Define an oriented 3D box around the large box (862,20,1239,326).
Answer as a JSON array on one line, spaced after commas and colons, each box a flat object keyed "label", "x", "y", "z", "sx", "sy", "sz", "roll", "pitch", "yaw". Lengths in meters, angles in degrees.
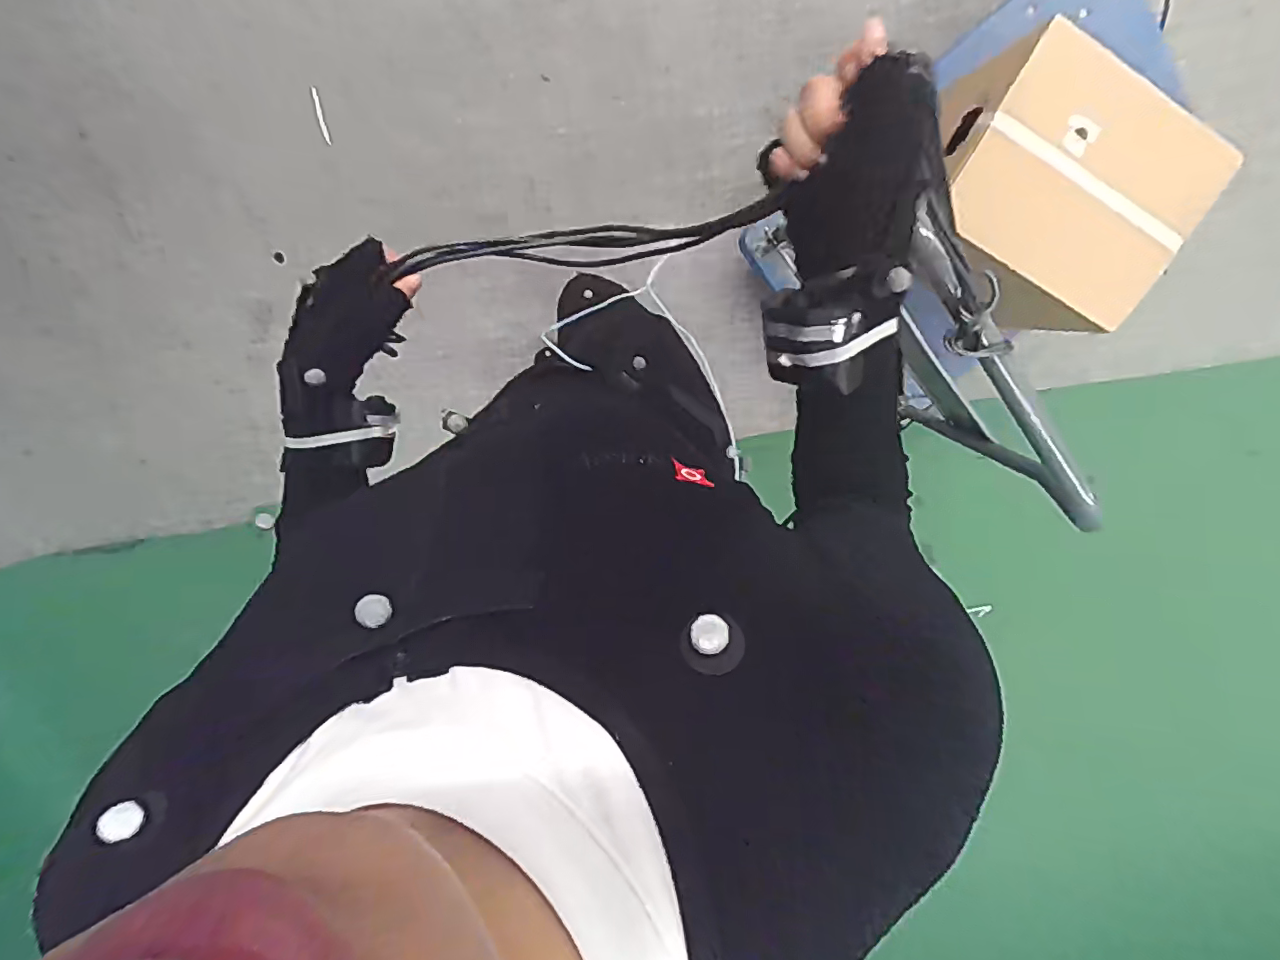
[{"label": "large box", "x": 0.722, "y": -0.528, "z": 1.023, "sx": 0.408, "sy": 0.320, "sz": 0.320, "roll": 27, "pitch": 105, "yaw": -9}]
